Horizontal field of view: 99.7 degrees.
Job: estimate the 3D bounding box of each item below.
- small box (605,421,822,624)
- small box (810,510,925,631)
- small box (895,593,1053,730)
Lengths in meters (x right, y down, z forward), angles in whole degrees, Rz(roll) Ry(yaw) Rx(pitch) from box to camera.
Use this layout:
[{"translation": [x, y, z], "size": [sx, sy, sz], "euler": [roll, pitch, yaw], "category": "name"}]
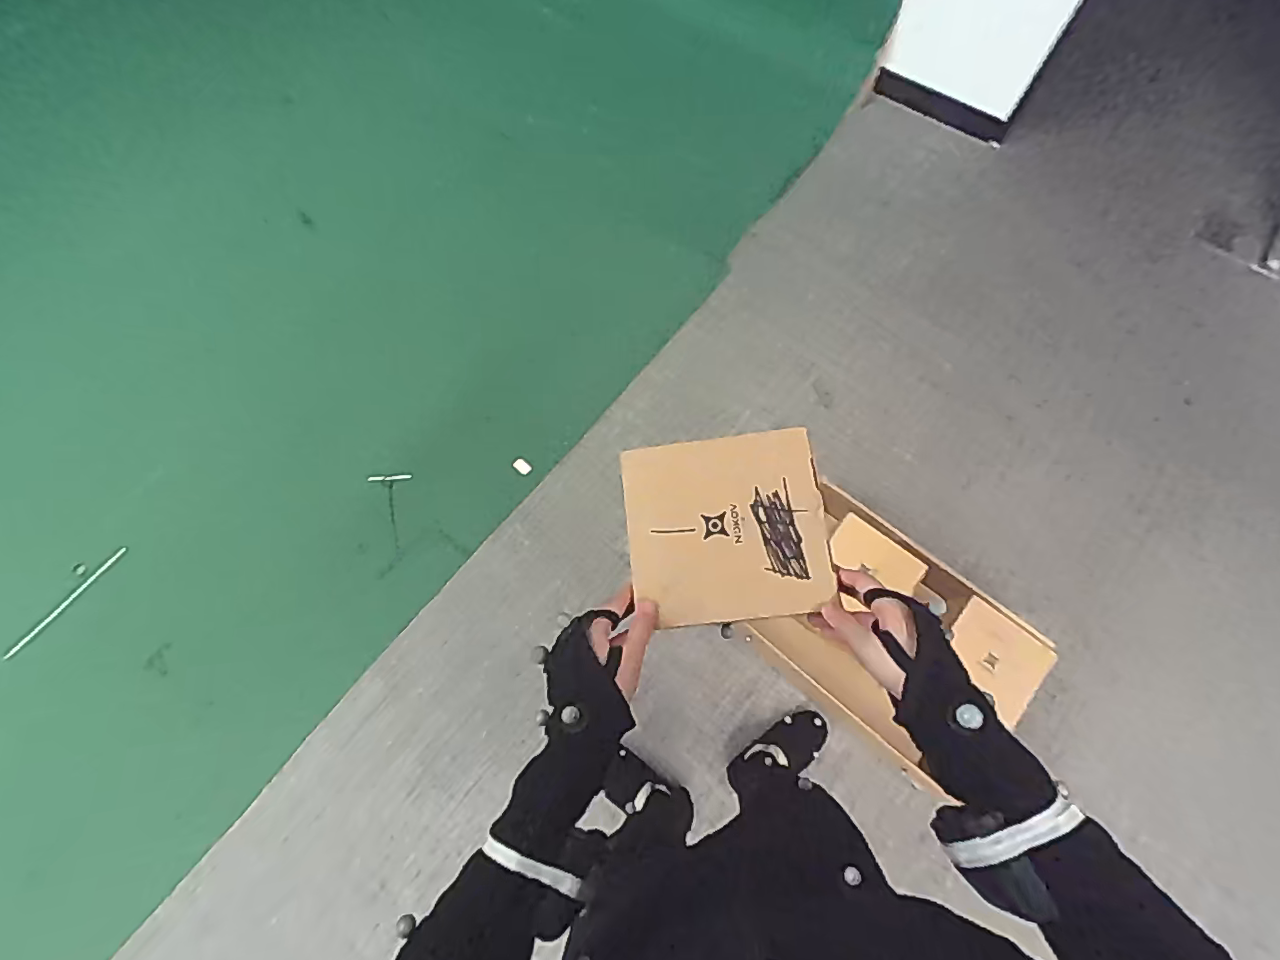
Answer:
[{"translation": [0.070, 0.054, 0.557], "size": [0.179, 0.176, 0.168], "euler": [-9, 74, 6], "category": "small box"}, {"translation": [0.426, 0.193, 1.099], "size": [0.179, 0.176, 0.168], "euler": [37, 77, 13], "category": "small box"}, {"translation": [0.622, 0.344, 1.037], "size": [0.168, 0.176, 0.179], "euler": [40, 78, 15], "category": "small box"}]
